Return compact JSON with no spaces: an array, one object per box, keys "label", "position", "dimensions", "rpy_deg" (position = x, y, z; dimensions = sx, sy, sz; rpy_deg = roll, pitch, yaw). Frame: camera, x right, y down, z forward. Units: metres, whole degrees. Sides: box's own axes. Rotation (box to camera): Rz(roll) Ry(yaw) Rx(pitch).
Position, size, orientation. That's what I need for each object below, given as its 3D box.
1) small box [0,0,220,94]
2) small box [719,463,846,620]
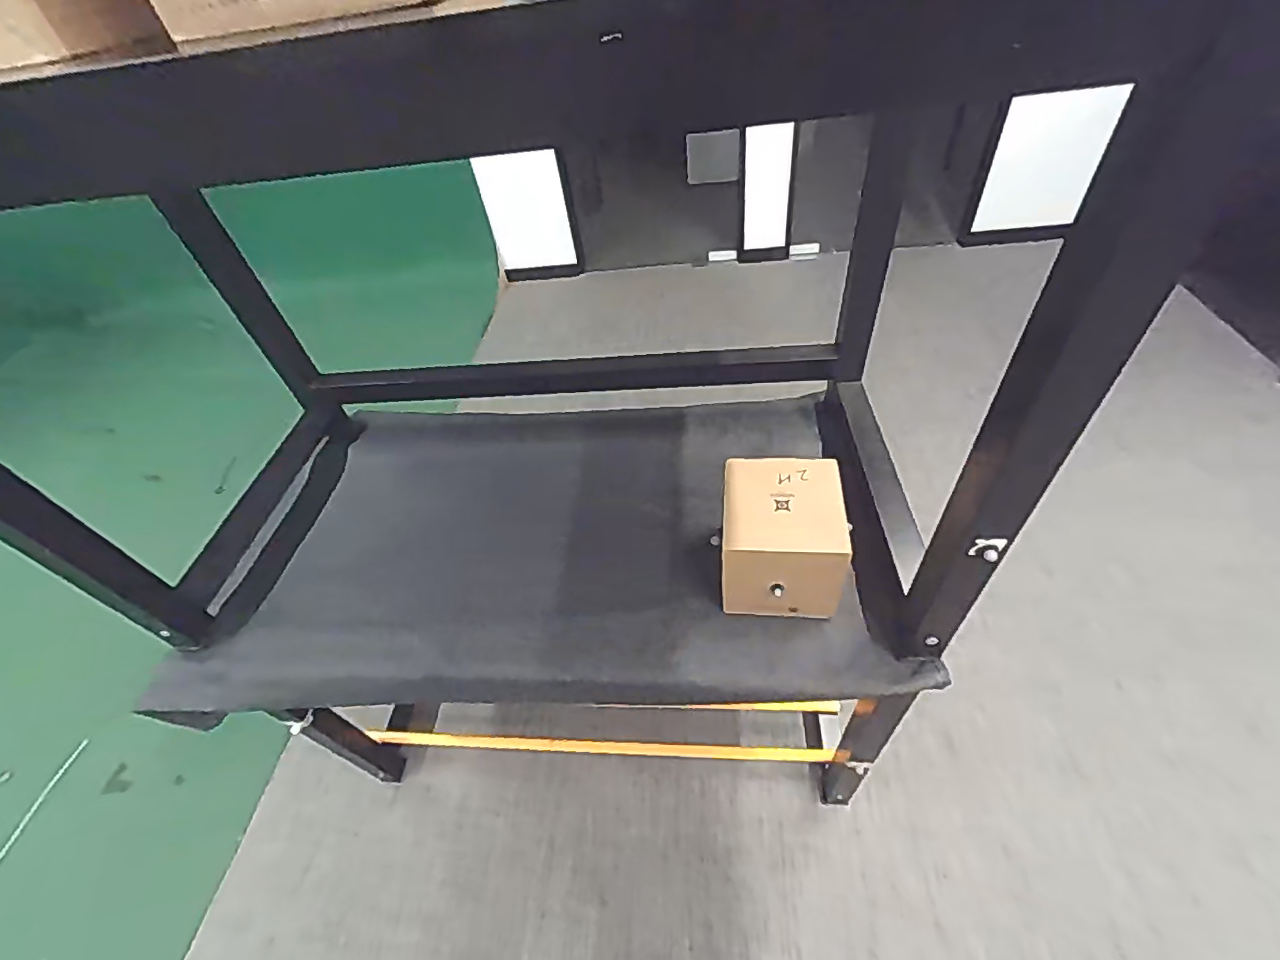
[{"label":"small box","position":[-0.437,-0.366,0.351],"dimensions":[0.168,0.176,0.179],"rpy_deg":[-1,46,9]},{"label":"small box","position":[0.208,0.093,0.818],"dimensions":[0.168,0.176,0.179],"rpy_deg":[1,46,10]}]
